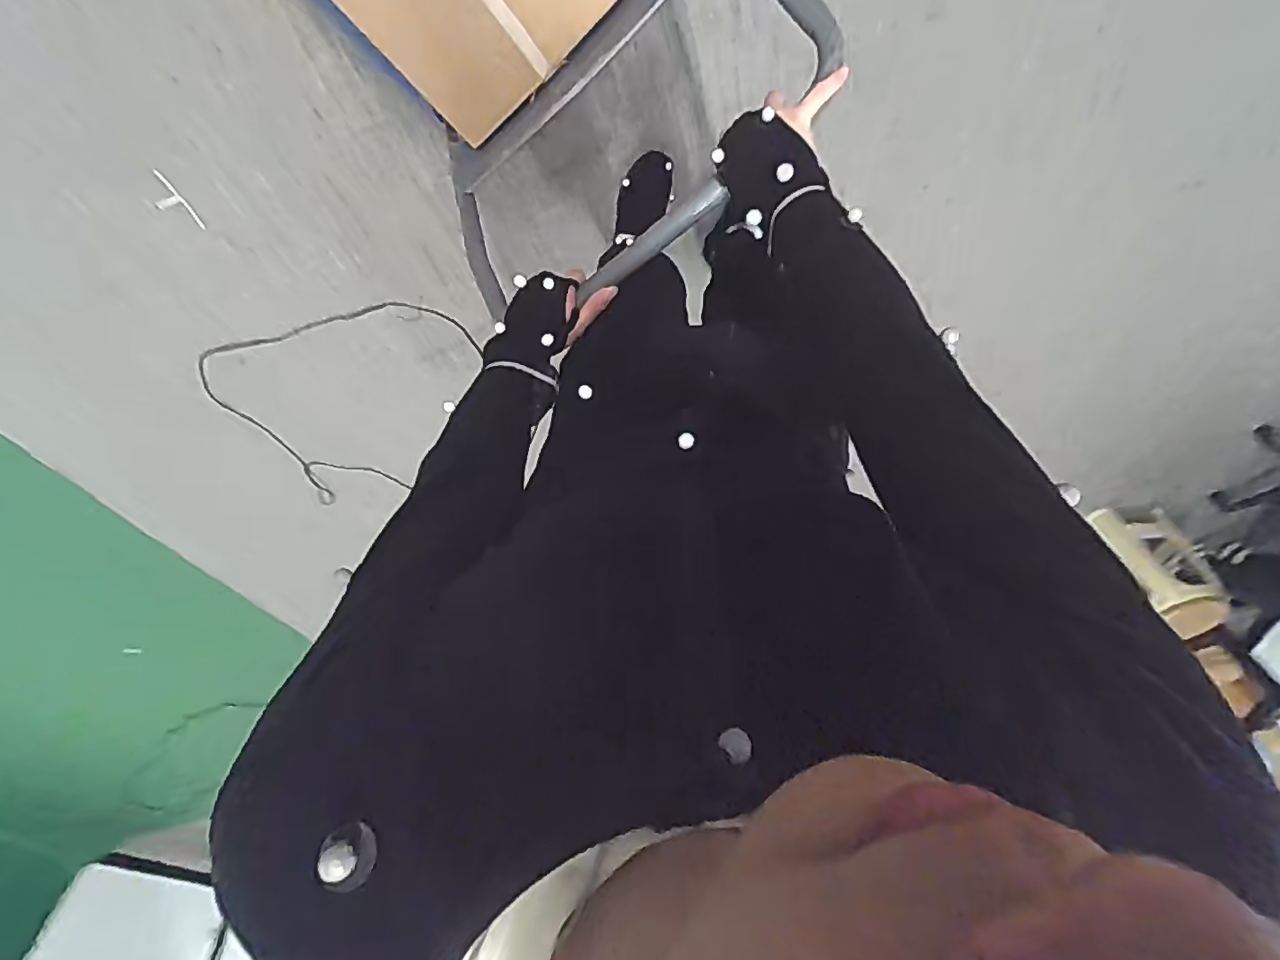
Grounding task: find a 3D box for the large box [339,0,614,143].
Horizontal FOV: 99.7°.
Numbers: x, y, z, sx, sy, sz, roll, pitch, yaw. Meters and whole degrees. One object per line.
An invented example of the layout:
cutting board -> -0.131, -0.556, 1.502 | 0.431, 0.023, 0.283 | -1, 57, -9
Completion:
large box -> -0.282, -0.799, 0.756 | 0.320, 0.320, 0.408 | -33, 140, 21
